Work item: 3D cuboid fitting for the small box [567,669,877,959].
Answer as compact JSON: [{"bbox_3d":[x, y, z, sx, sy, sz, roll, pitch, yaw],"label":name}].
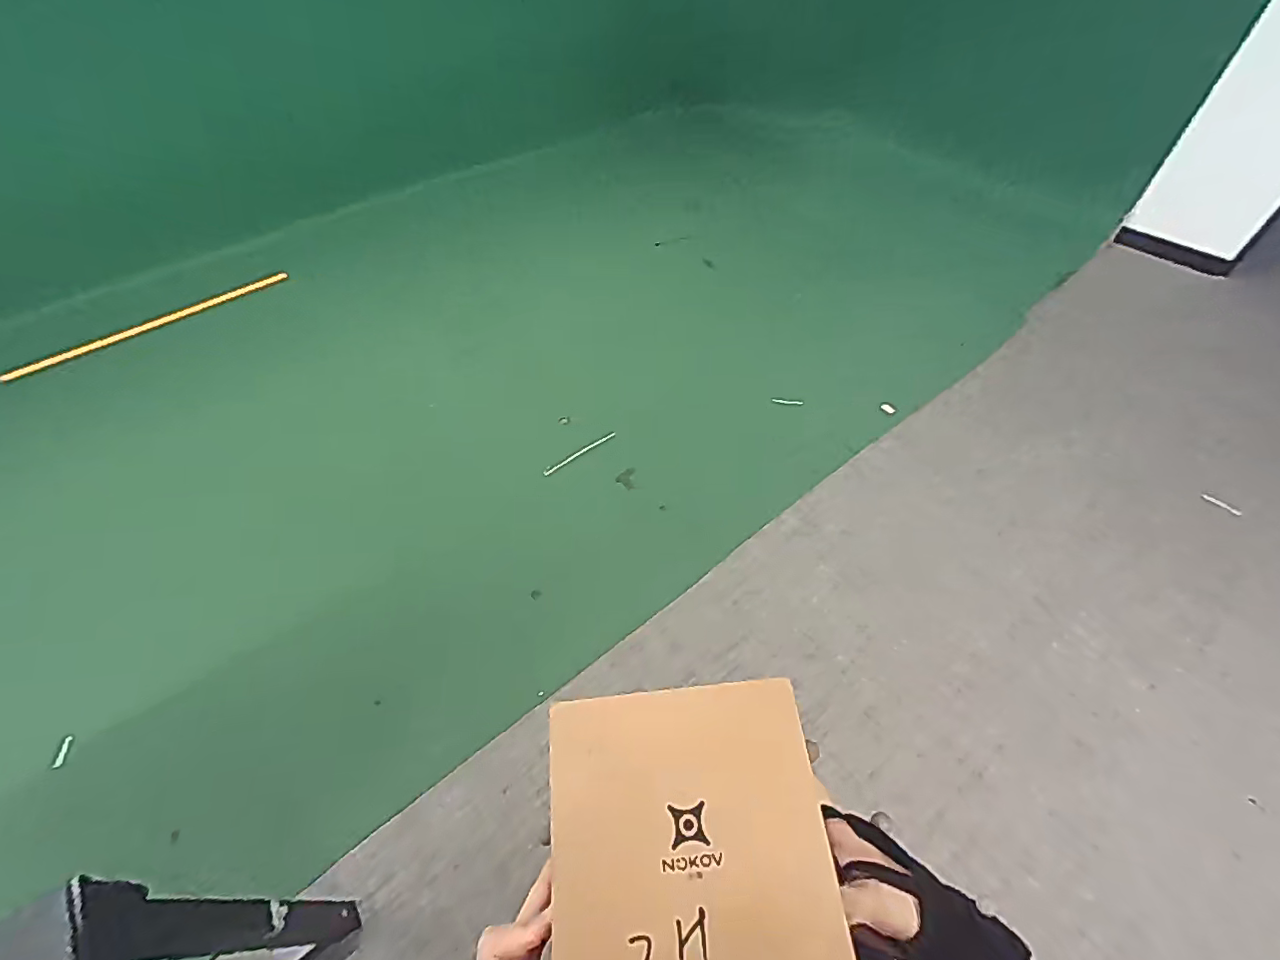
[{"bbox_3d":[0.040,0.248,0.383,0.168,0.176,0.179,-5,58,-1],"label":"small box"}]
